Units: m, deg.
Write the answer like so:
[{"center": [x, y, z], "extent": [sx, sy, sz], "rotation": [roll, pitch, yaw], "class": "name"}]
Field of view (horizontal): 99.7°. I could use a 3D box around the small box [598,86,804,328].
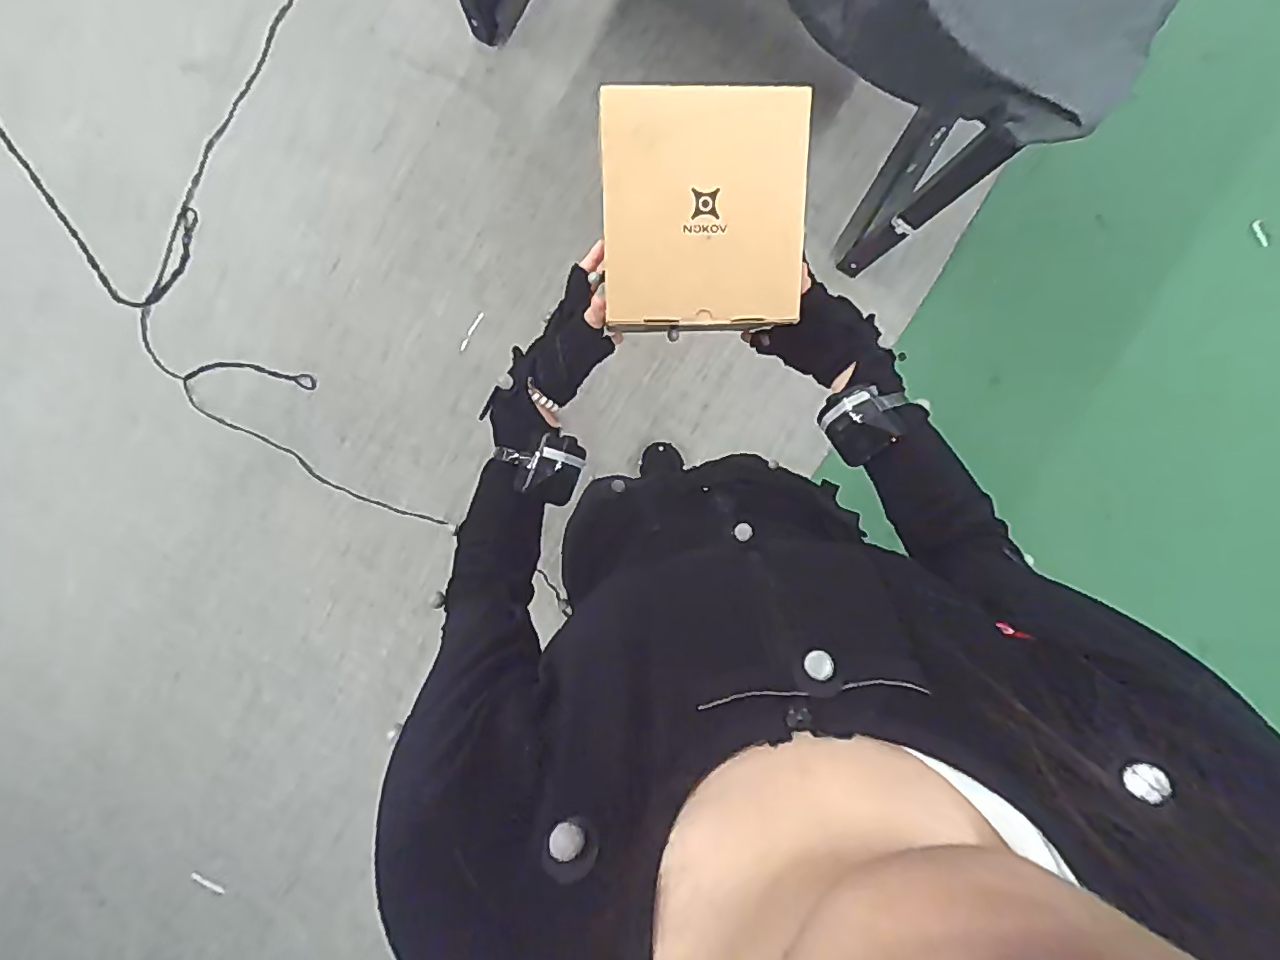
[{"center": [0.044, -0.240, 0.521], "extent": [0.168, 0.176, 0.179], "rotation": [-1, 105, -4], "class": "small box"}]
